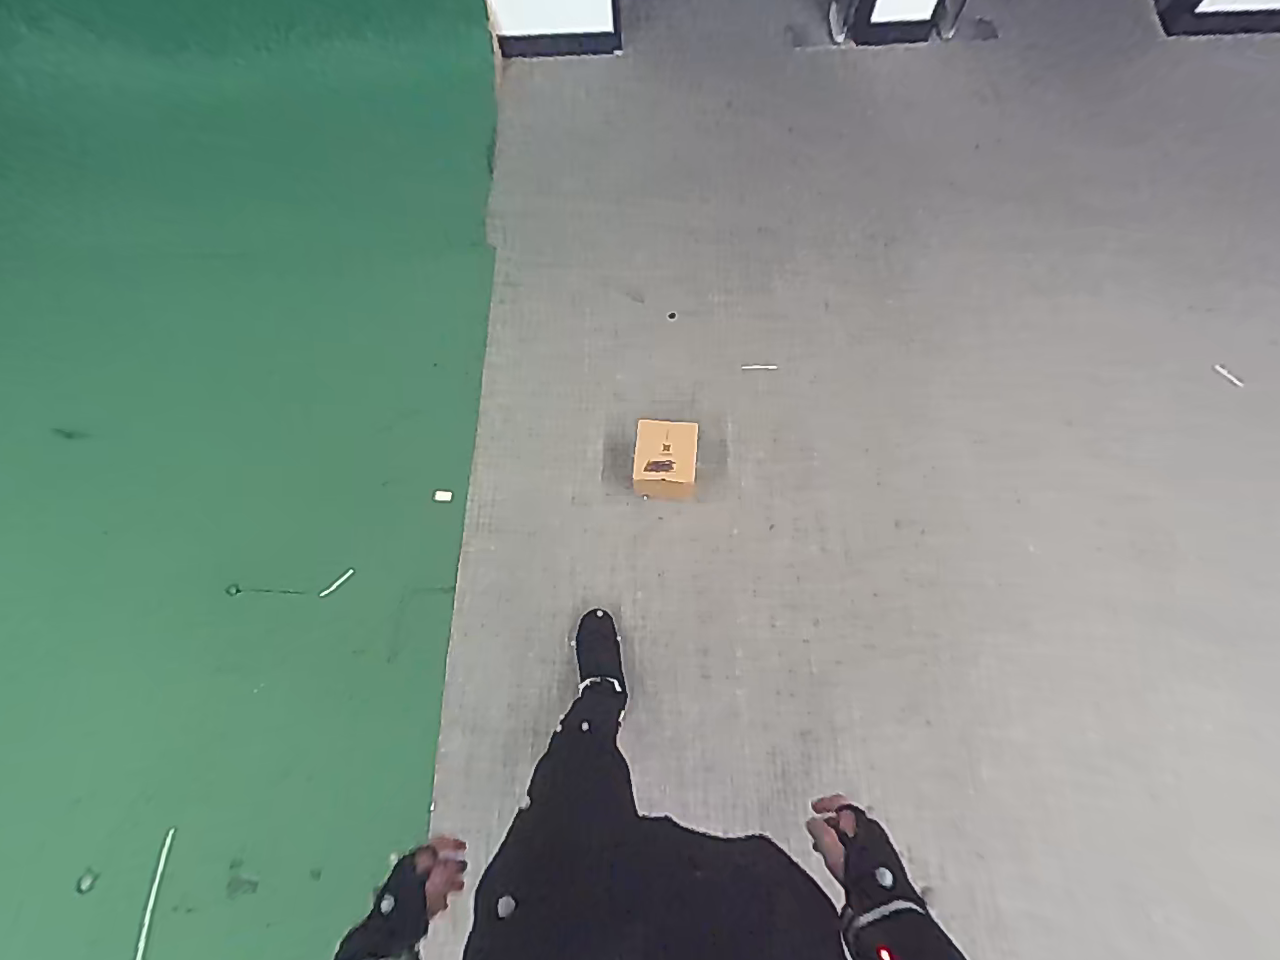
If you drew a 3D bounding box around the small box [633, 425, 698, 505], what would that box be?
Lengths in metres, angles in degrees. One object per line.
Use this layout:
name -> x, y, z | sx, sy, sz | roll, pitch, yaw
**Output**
small box -> 0.073, -0.036, 1.536 | 0.168, 0.176, 0.179 | 5, 71, 2
